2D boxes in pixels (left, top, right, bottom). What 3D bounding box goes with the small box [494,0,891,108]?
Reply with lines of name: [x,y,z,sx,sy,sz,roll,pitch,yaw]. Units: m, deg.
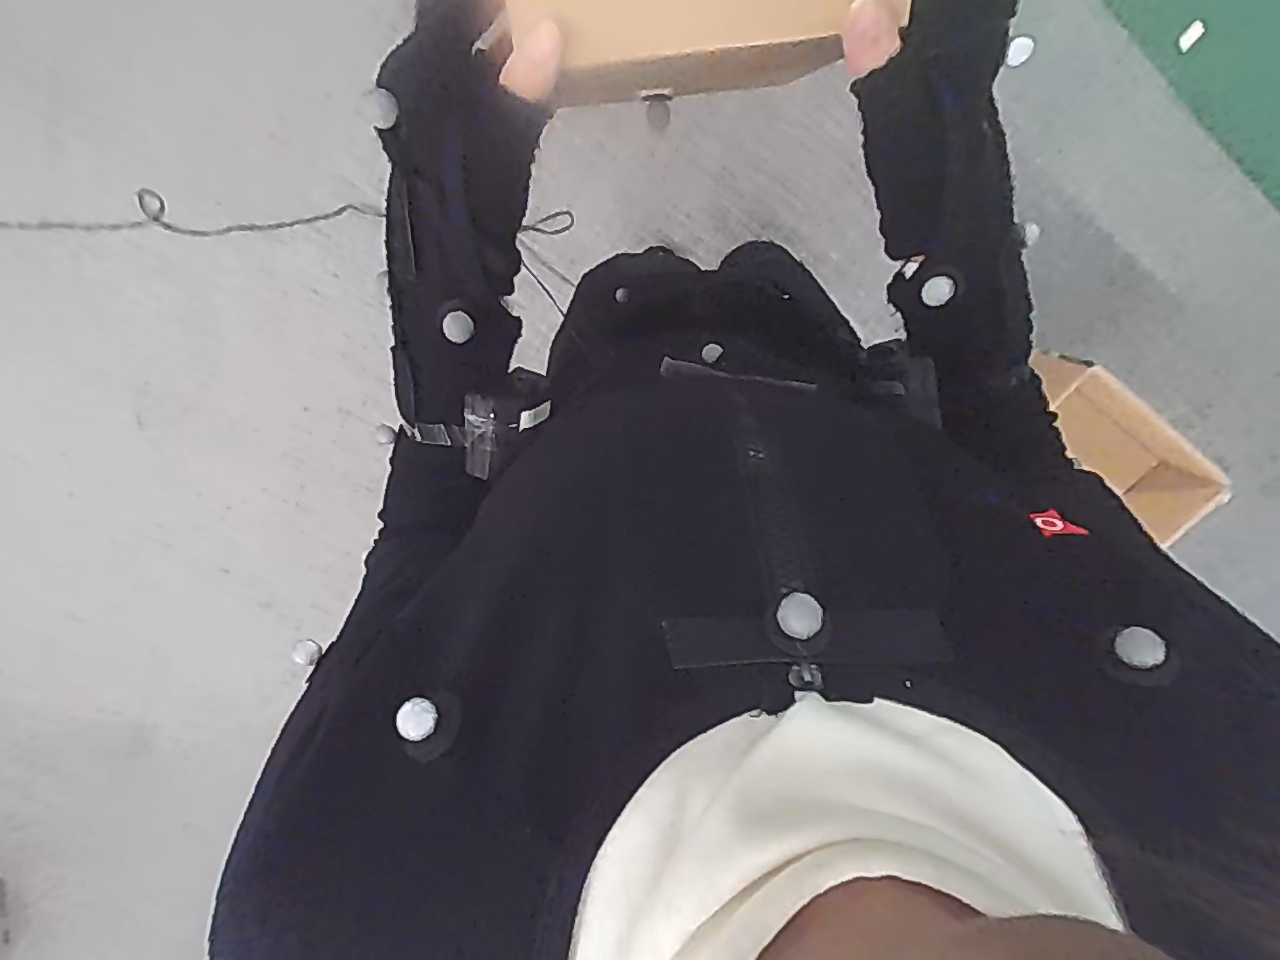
small box: [0.010,-0.297,0.254,0.168,0.176,0.179,-7,120,0]
